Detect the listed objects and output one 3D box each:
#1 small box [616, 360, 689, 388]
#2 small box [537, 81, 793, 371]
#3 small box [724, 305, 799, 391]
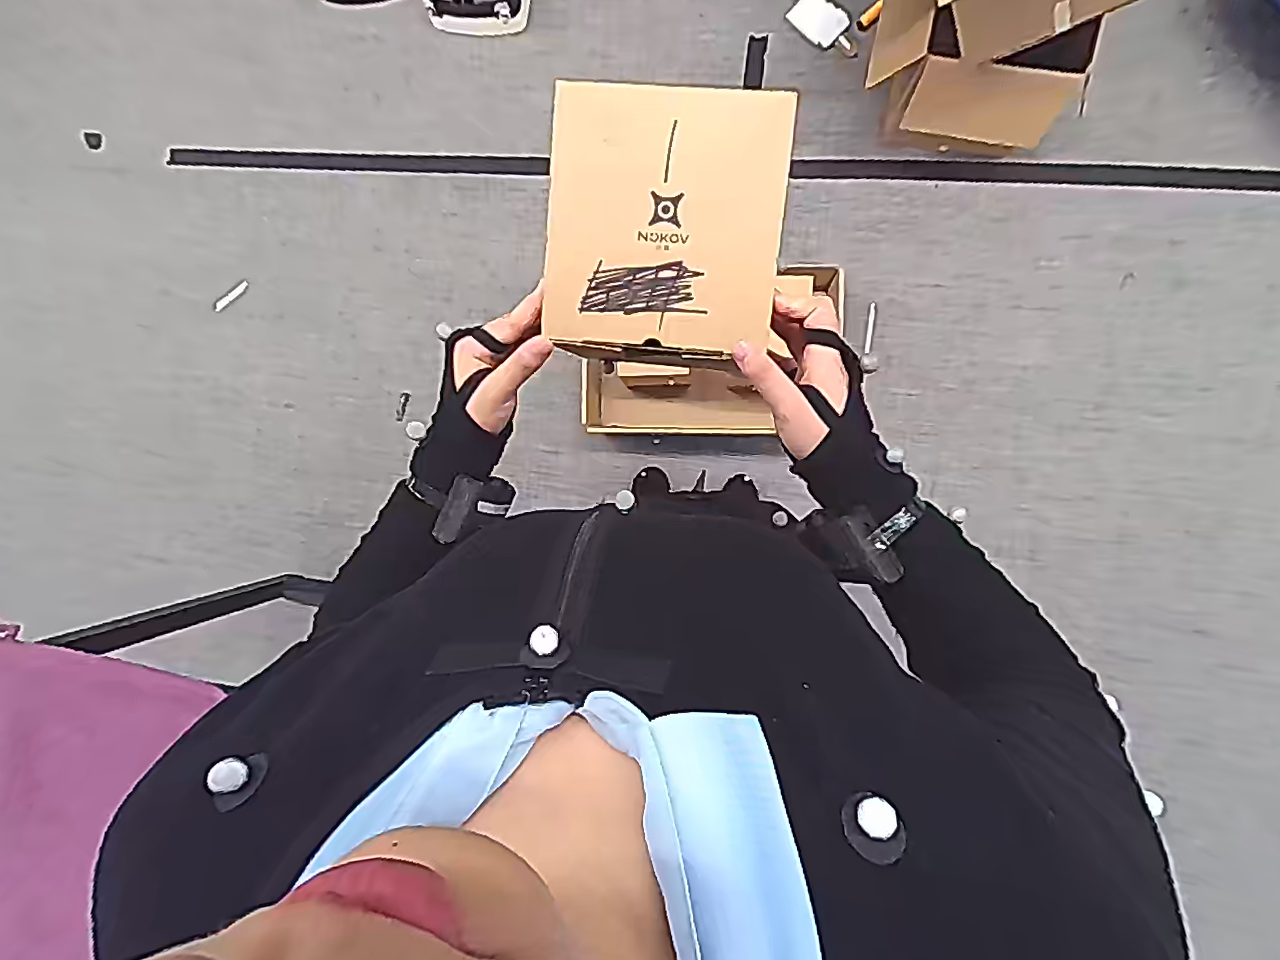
[{"bbox_3d":[0.036,-0.327,1.363,0.179,0.176,0.168,0,91,6],"label":"small box"},{"bbox_3d":[0.020,-0.189,0.454,0.168,0.176,0.179,6,98,3],"label":"small box"},{"bbox_3d":[0.293,-0.320,1.333,0.168,0.176,0.179,2,92,8],"label":"small box"}]
